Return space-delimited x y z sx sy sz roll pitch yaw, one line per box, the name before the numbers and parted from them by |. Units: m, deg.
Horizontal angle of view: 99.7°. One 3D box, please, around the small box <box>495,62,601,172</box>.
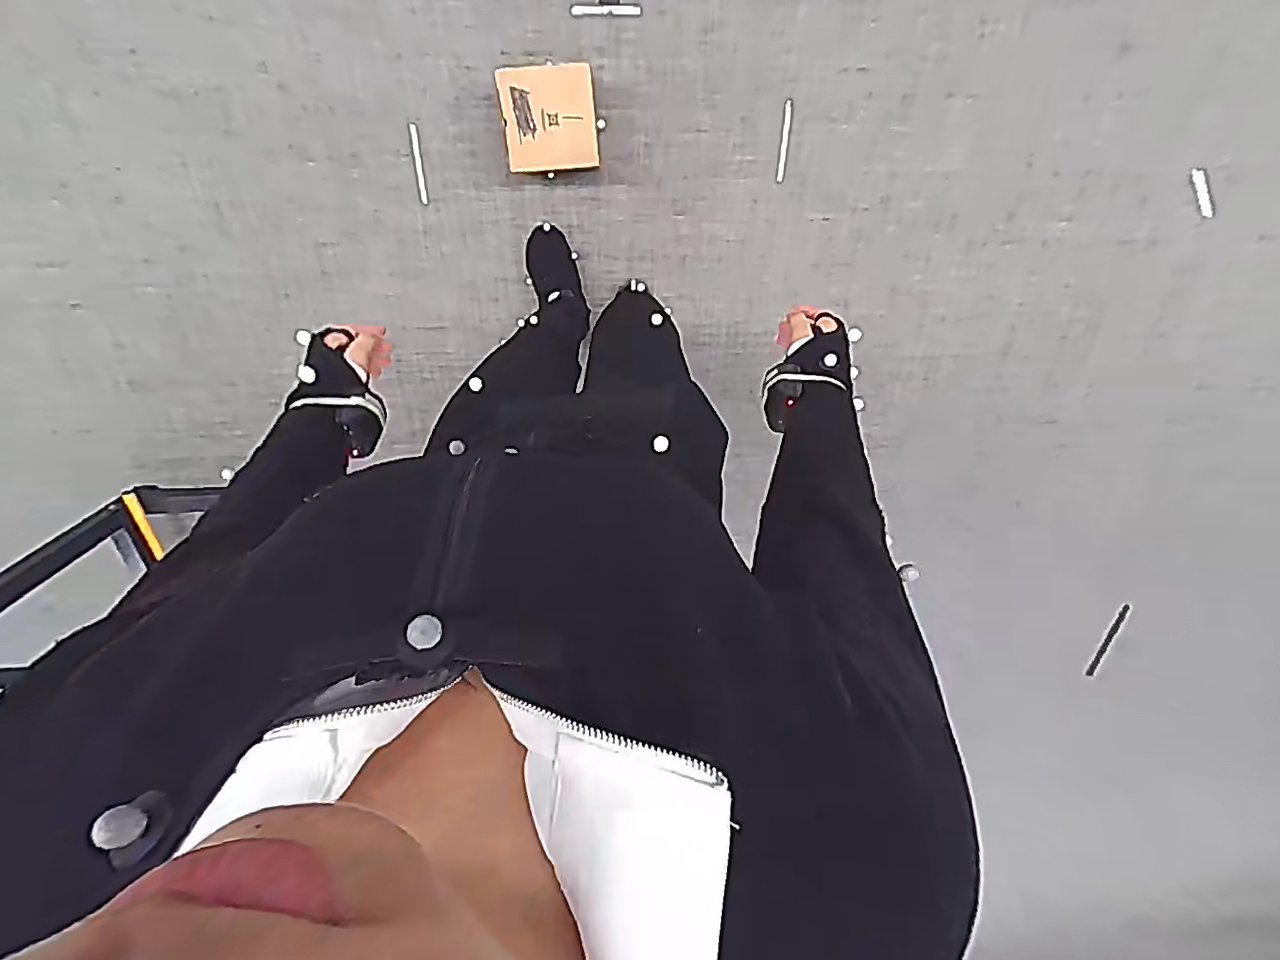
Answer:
small box | -0.172 -0.711 1.075 0.179 0.176 0.168 -4 120 -1
